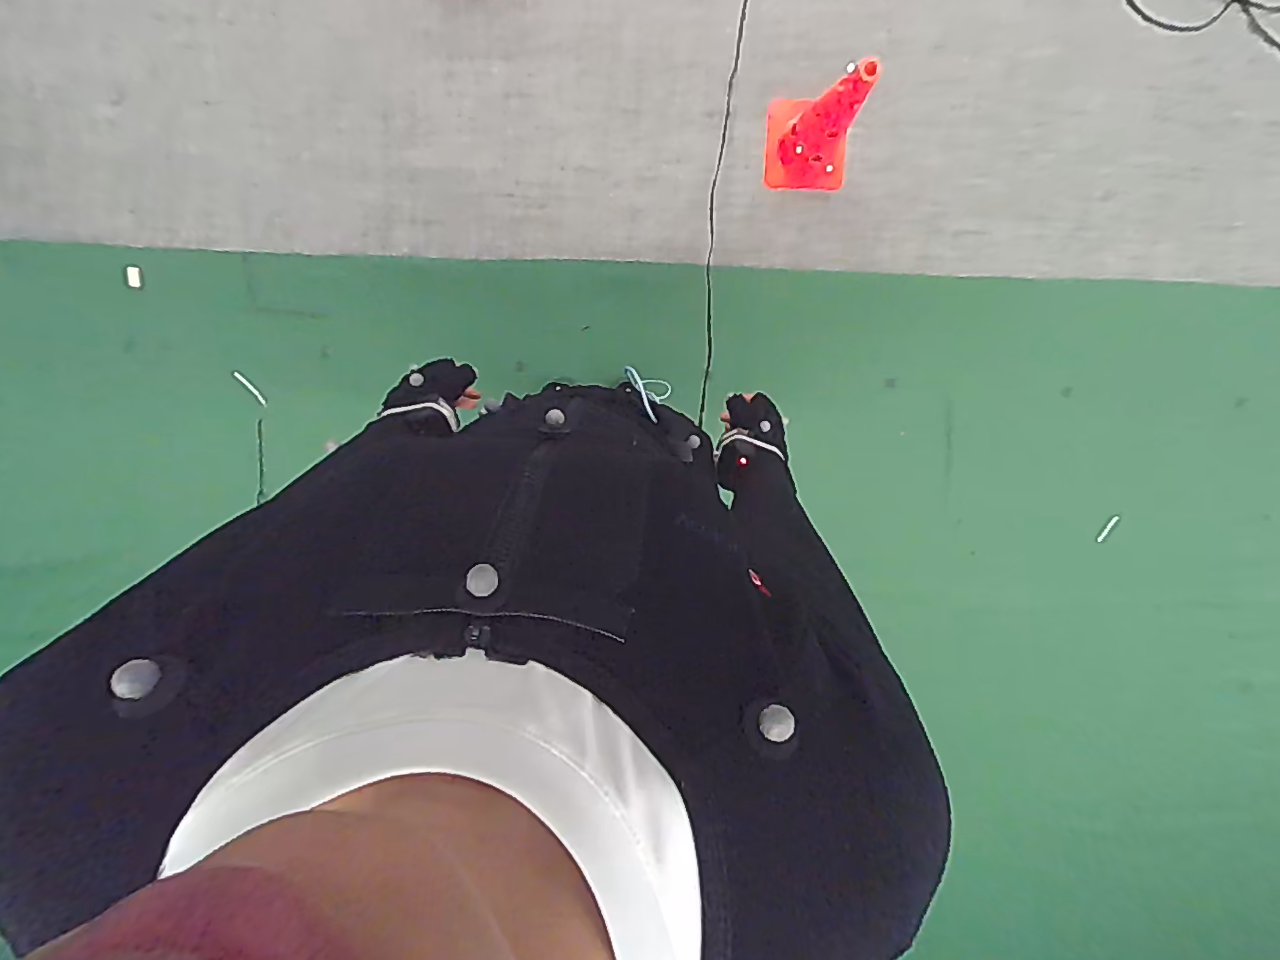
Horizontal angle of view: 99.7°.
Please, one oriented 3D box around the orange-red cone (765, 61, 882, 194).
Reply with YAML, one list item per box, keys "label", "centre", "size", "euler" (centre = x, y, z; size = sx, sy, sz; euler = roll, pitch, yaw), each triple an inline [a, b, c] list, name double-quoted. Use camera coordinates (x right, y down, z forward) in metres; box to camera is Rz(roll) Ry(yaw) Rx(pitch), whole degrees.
- label: "orange-red cone"
  centre: [0.417, -0.787, 1.165]
  size: [0.198, 0.360, 0.199]
  euler: [2, 100, -3]
